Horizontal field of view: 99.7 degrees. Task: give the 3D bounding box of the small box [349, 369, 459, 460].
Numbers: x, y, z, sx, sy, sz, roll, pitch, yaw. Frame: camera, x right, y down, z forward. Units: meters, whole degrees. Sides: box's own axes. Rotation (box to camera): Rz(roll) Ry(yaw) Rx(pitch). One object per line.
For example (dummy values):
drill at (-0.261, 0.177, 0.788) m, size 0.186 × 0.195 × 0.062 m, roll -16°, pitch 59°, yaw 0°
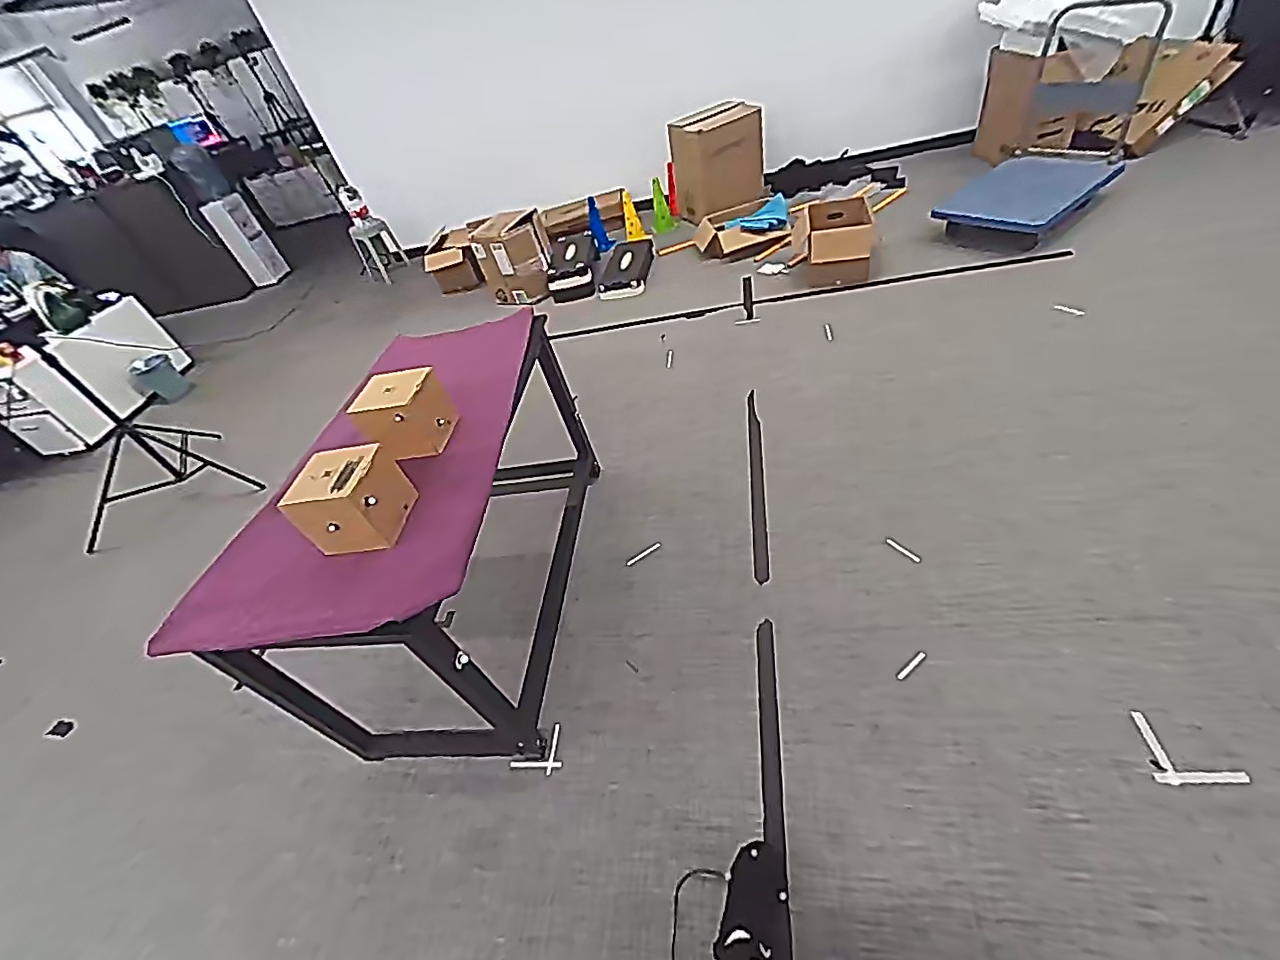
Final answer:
small box at (-0.610, -0.167, 1.423) m, size 0.179 × 0.176 × 0.168 m, roll -6°, pitch 44°, yaw 12°
